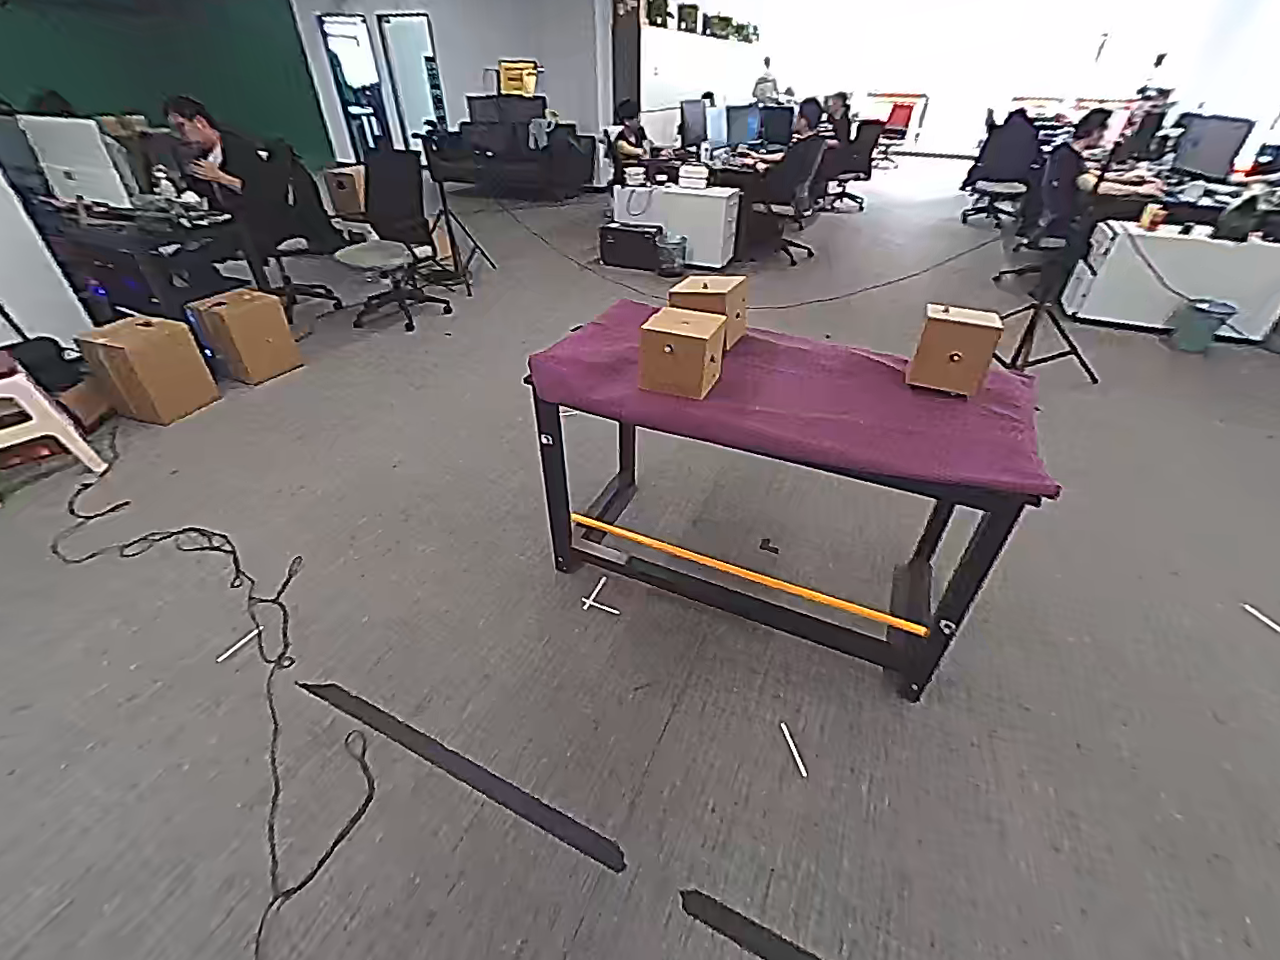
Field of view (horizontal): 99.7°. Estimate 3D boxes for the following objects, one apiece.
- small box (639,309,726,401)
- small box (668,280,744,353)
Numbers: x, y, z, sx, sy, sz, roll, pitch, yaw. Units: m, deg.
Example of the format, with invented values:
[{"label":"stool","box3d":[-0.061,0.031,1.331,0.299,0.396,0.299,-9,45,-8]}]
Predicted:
[{"label":"small box","box3d":[0.109,-0.321,1.392,0.179,0.176,0.168,14,39,18]},{"label":"small box","box3d":[0.201,-0.487,1.592,0.179,0.168,0.176,12,37,26]}]
